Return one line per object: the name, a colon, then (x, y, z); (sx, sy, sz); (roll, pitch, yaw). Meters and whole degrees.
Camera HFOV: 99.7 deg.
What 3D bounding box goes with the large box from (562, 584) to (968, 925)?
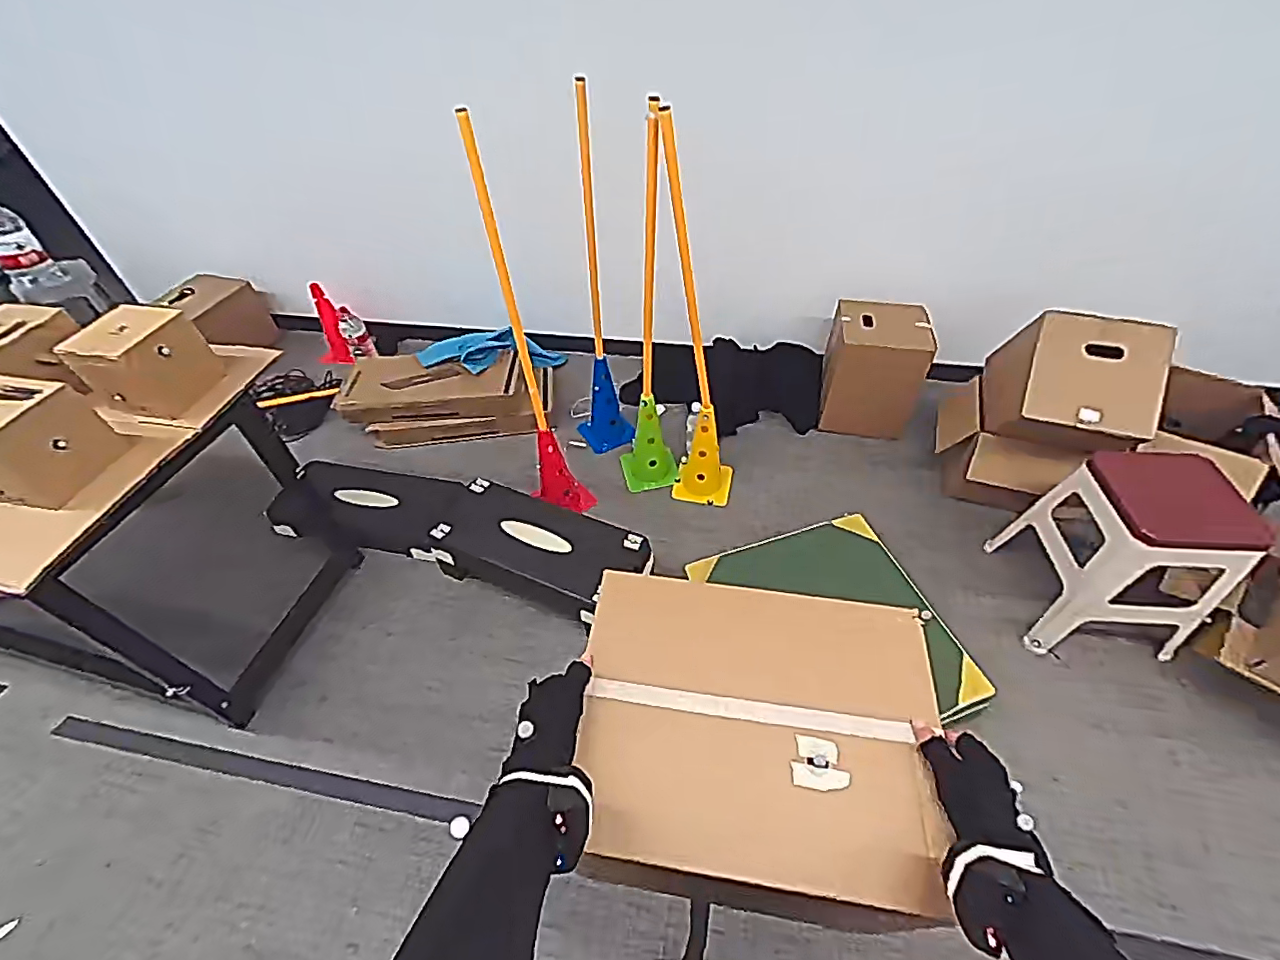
large box: (0.134, 0.372, 0.735); (0.408, 0.320, 0.320); (6, 50, 6)
